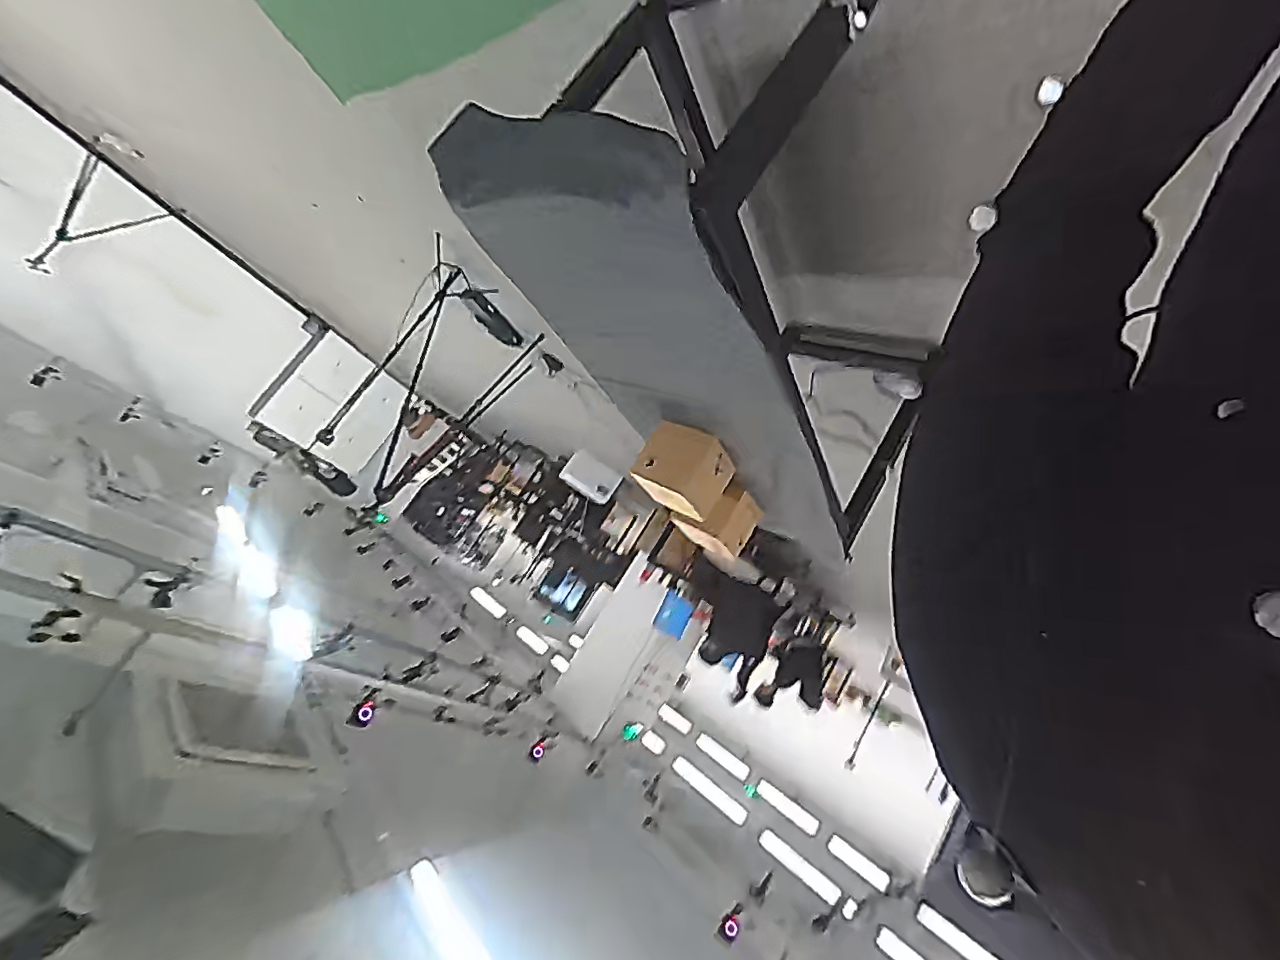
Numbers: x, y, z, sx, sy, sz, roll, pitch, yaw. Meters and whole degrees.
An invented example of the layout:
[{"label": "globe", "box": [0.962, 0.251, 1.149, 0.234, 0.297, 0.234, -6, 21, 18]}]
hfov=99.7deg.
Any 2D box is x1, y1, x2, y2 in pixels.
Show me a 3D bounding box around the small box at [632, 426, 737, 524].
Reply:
[{"label": "small box", "box": [0.118, -0.019, 1.386, 0.179, 0.176, 0.168, 23, 164, 38]}]
